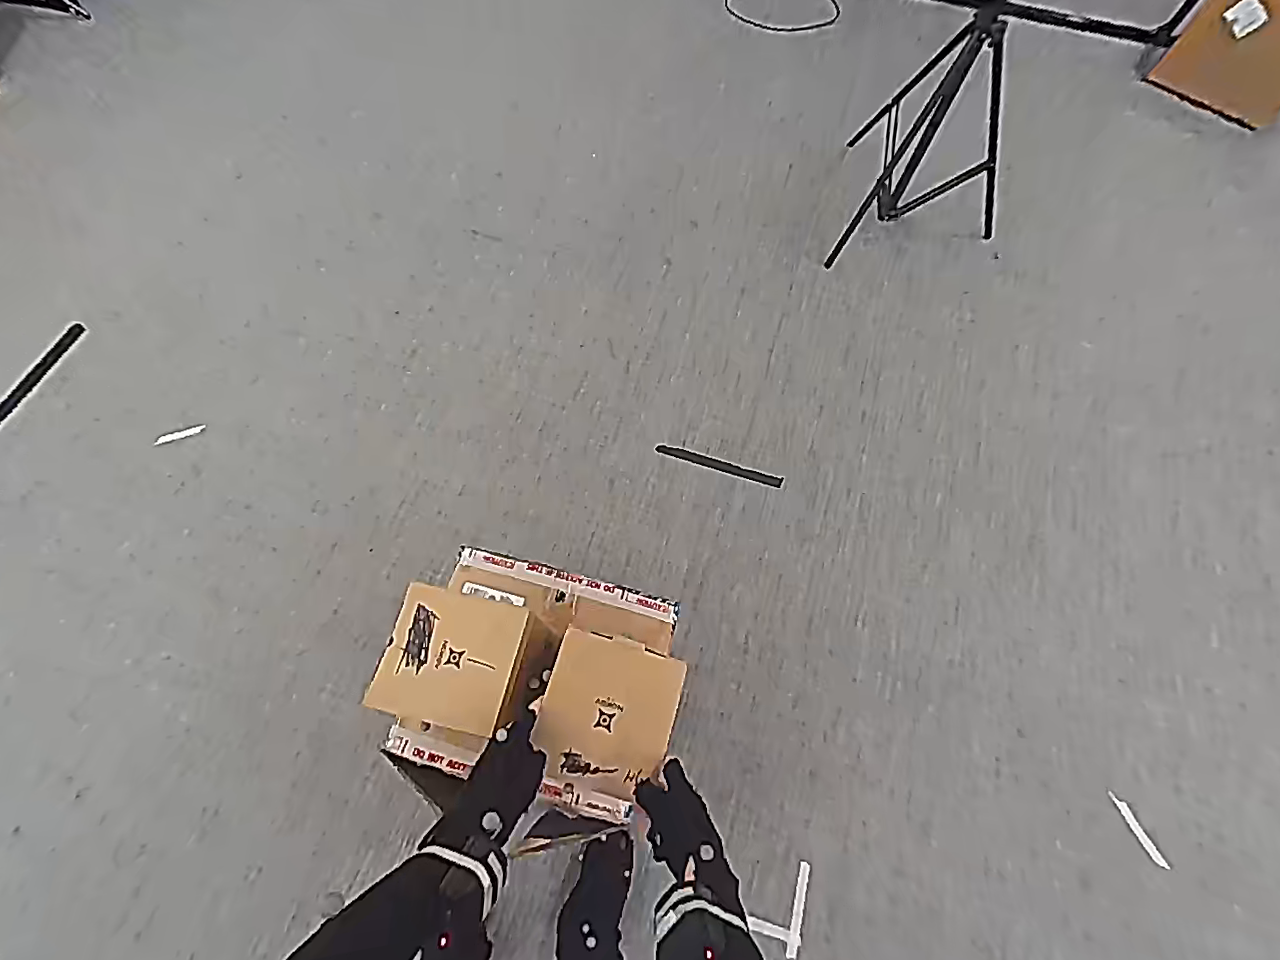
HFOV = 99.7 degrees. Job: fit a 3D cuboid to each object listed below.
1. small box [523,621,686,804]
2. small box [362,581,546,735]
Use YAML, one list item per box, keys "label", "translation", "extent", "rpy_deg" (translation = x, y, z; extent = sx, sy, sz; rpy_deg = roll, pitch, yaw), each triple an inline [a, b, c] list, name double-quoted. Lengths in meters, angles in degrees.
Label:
- label: "small box"
  translation: [-0.051, 0.309, 0.744]
  extent: [0.168, 0.176, 0.179]
  rpy_deg: [18, 70, -1]
- label: "small box"
  translation: [-0.250, 0.260, 0.776]
  extent: [0.179, 0.176, 0.168]
  rpy_deg: [11, 67, 5]
